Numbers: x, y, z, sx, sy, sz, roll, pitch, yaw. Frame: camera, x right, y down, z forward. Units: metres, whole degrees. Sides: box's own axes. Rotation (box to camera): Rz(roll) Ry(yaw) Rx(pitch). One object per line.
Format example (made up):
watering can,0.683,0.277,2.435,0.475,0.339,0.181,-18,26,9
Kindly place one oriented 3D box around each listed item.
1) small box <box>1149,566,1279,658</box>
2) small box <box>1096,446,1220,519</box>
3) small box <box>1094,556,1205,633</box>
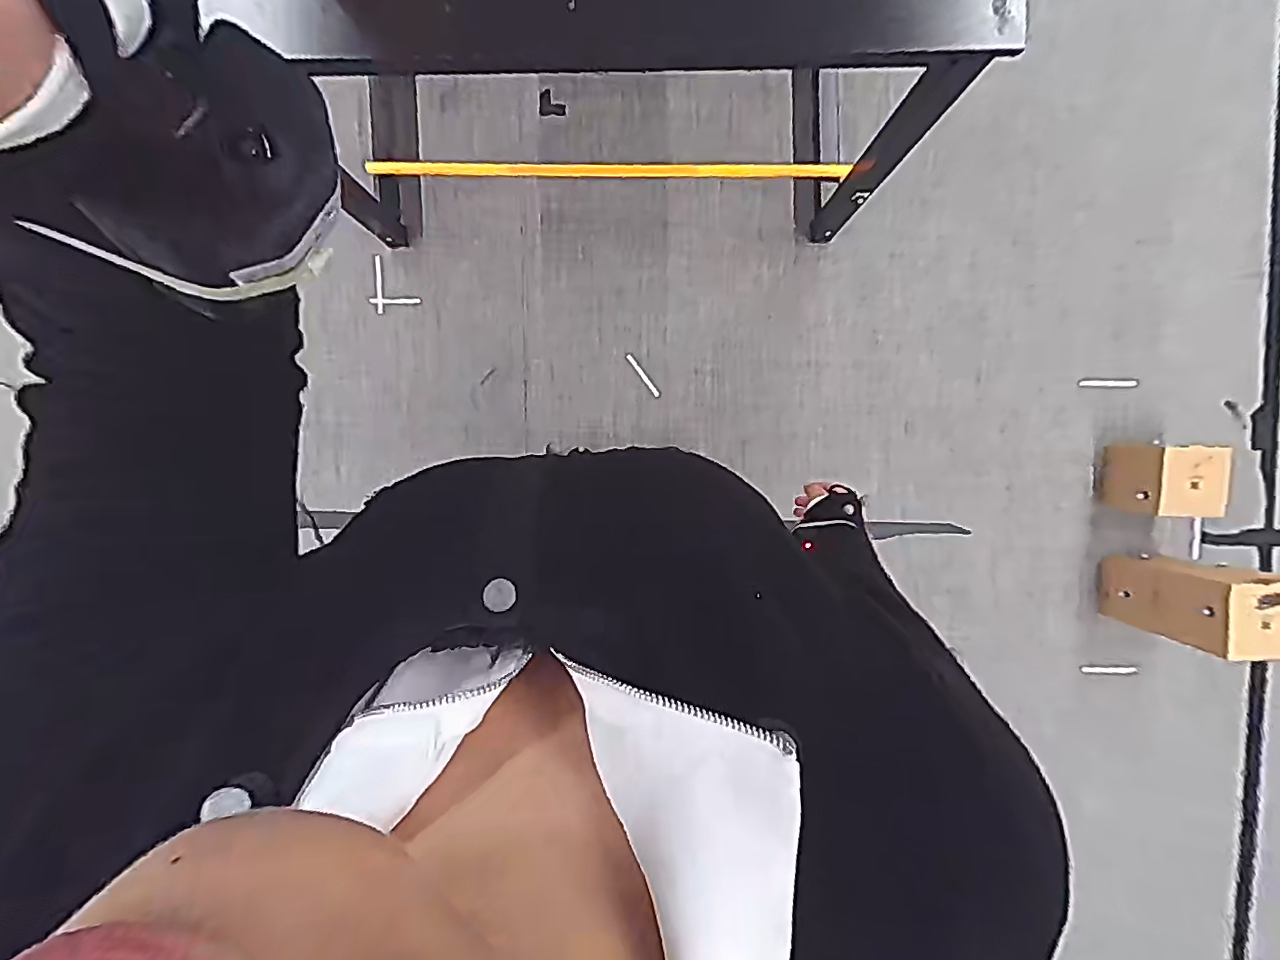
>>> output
small box,1.358,0.303,1.276,0.168,0.176,0.179,-2,94,0
small box,1.350,0.002,1.421,0.168,0.176,0.179,2,93,0
small box,1.362,0.300,1.442,0.179,0.176,0.168,-2,94,1
